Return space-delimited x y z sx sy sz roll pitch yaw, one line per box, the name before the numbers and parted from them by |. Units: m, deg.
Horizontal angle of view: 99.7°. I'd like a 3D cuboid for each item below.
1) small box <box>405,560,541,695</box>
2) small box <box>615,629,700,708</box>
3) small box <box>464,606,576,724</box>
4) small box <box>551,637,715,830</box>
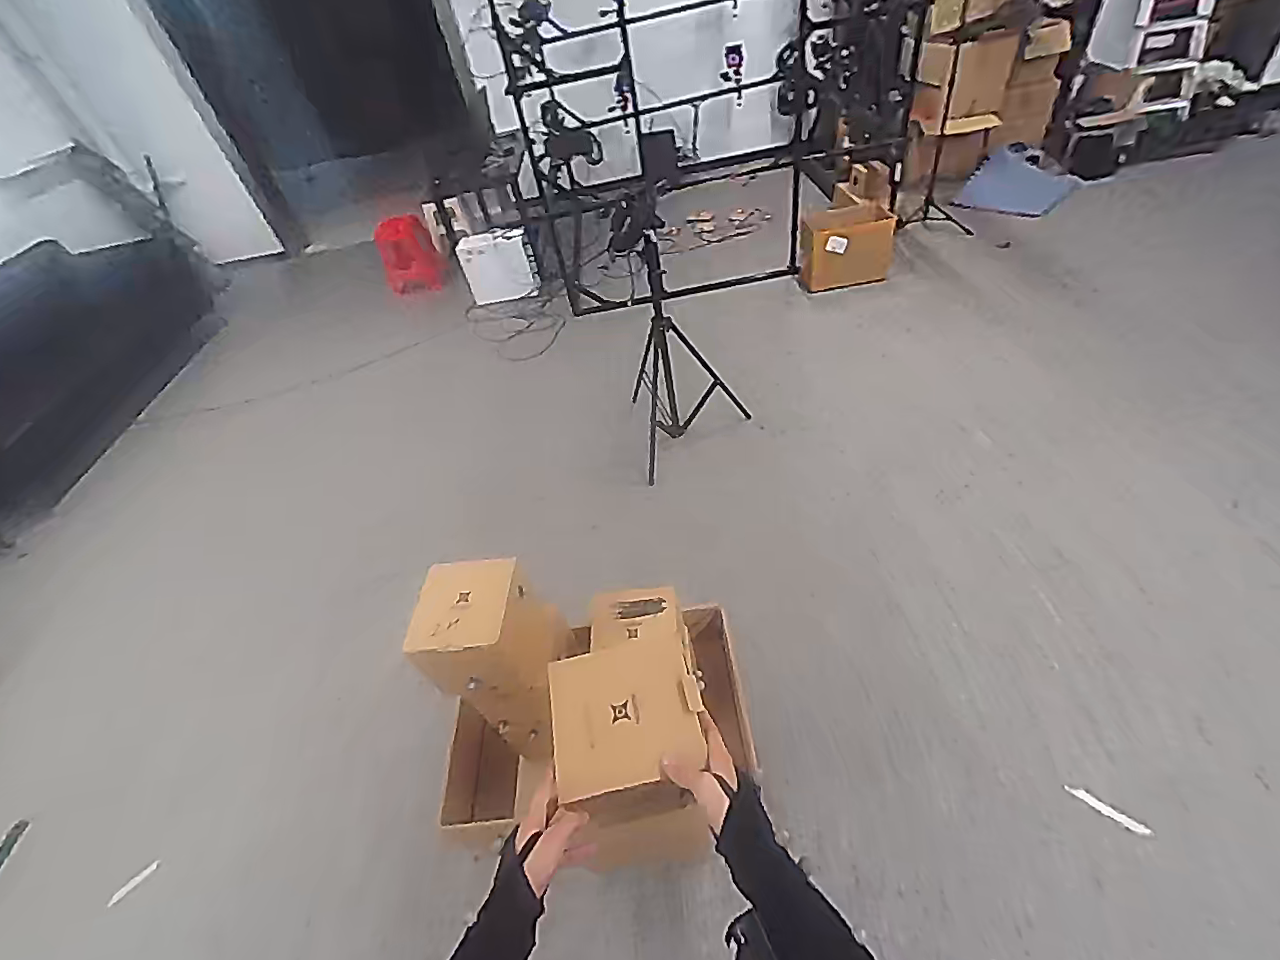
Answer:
small box | -0.286 0.267 0.976 0.168 0.176 0.179 -6 45 7
small box | 0.039 0.453 1.186 0.168 0.176 0.179 -9 45 6
small box | -0.230 0.378 1.089 0.168 0.176 0.179 -6 44 6
small box | -0.006 0.331 0.701 0.179 0.176 0.168 -13 47 0
